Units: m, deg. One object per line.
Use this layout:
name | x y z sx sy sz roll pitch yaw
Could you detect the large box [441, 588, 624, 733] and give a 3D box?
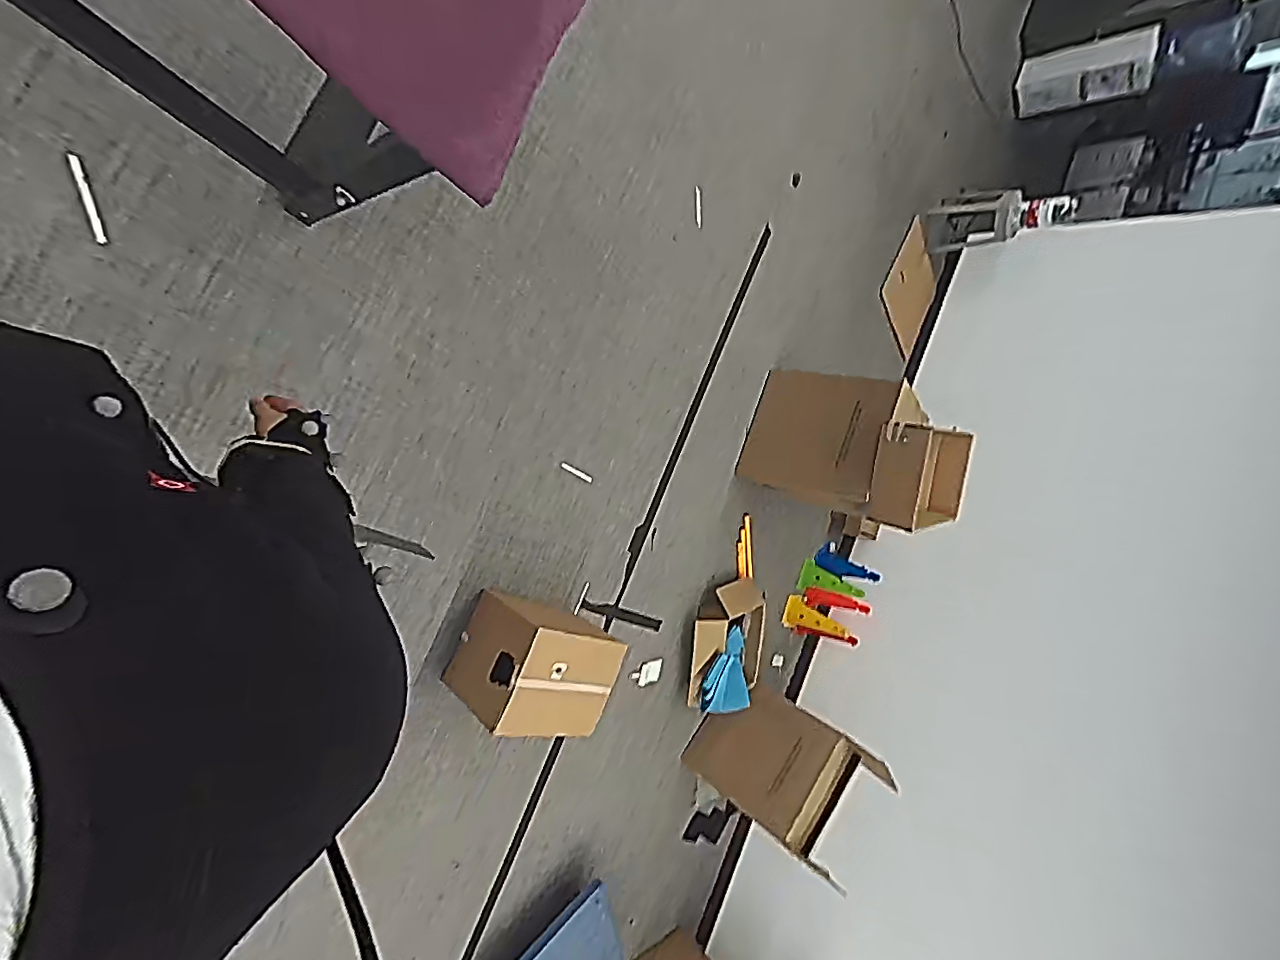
large box | -0.331 0.567 1.702 0.408 0.320 0.320 29 81 -46
